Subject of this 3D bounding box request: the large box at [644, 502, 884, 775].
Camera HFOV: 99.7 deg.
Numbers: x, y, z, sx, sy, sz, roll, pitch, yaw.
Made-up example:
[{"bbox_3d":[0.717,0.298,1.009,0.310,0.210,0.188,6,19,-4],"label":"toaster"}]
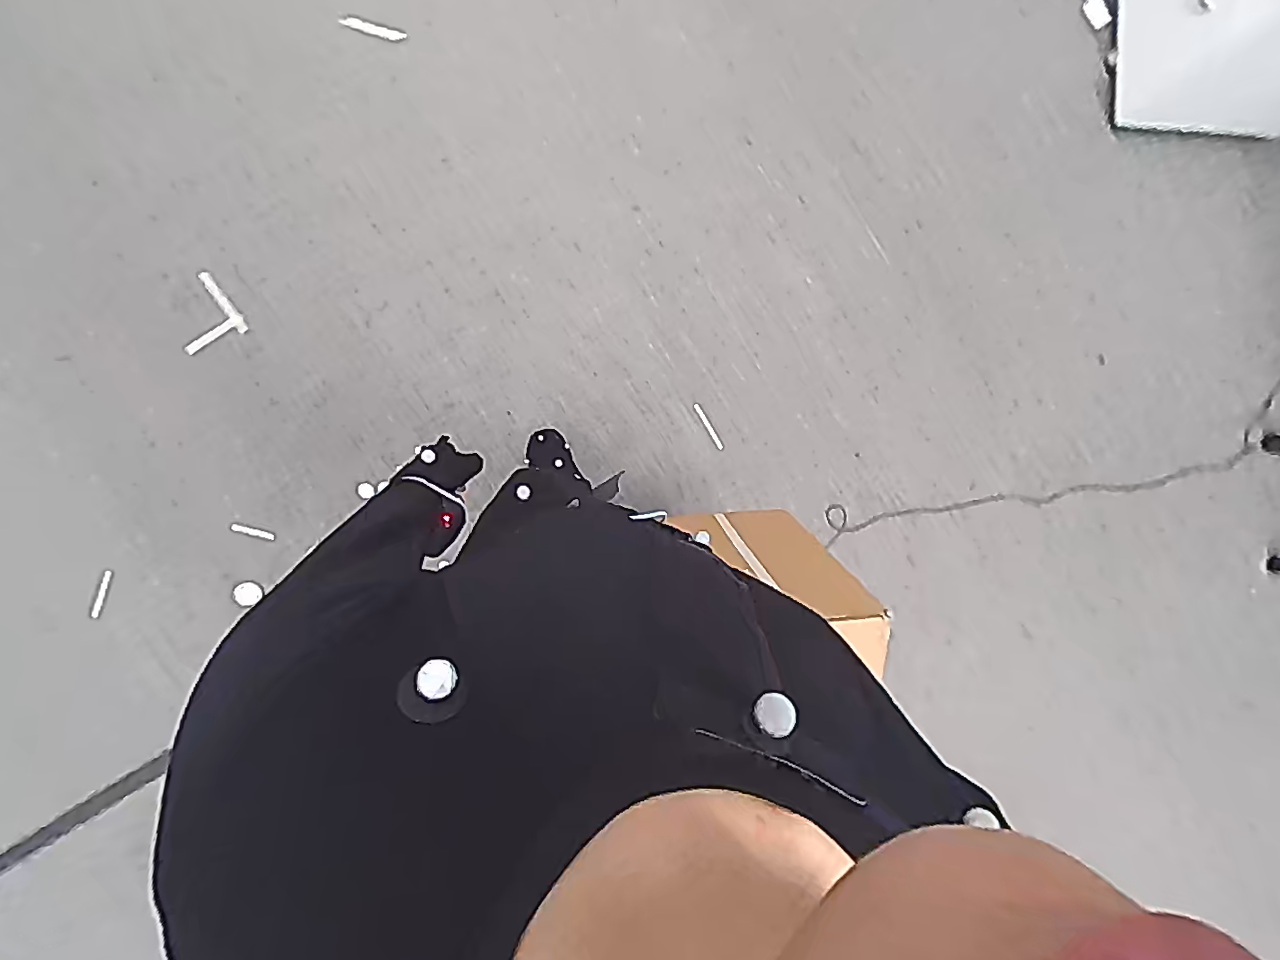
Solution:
[{"bbox_3d":[0.195,0.272,1.045,0.320,0.408,0.320,-6,112,-8],"label":"large box"}]
